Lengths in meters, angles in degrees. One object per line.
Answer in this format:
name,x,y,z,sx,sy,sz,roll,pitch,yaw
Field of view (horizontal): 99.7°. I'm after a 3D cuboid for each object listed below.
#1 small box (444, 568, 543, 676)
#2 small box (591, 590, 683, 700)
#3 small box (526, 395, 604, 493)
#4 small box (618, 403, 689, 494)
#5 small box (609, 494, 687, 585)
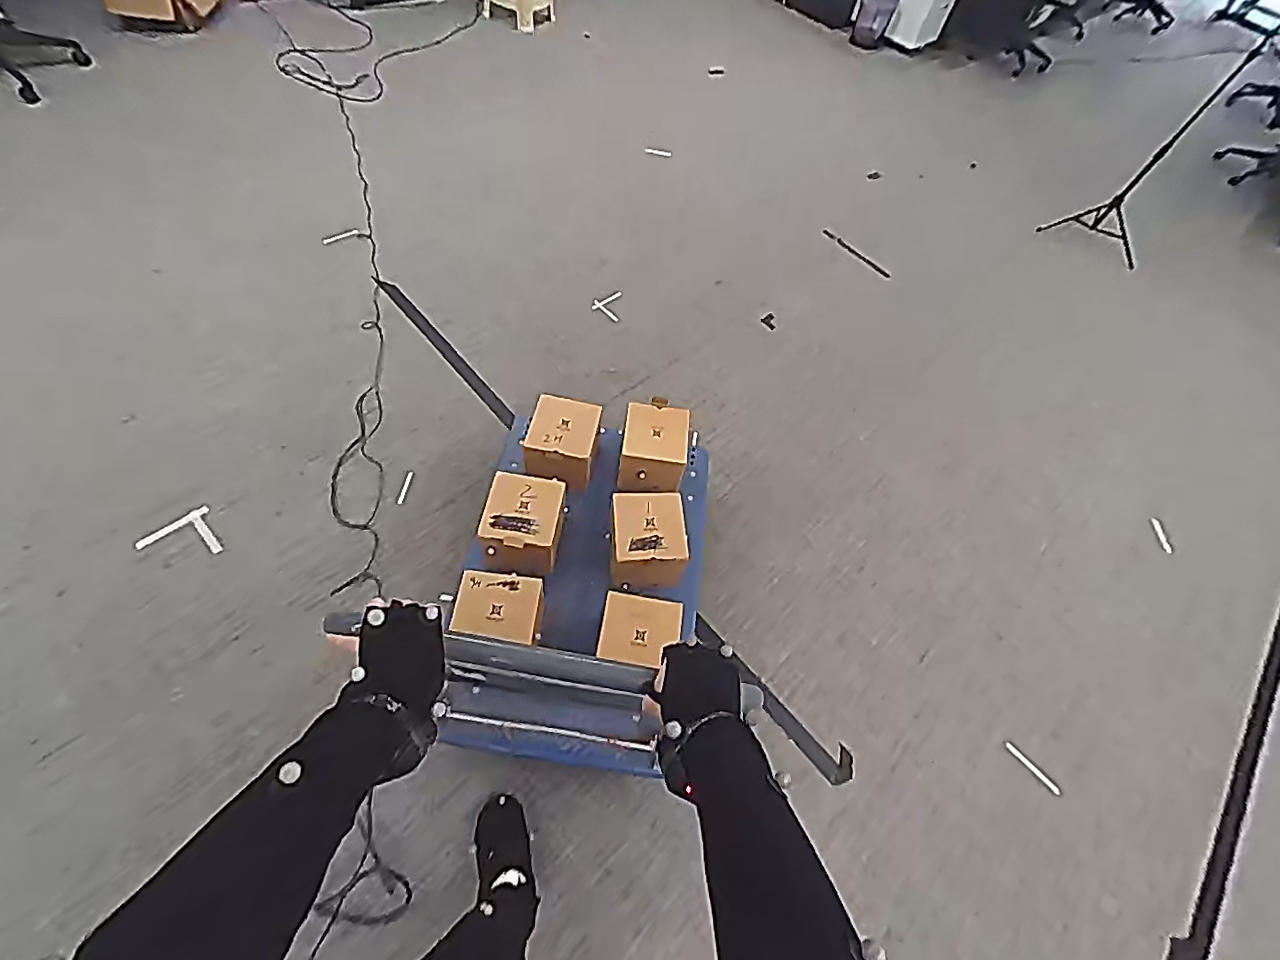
small box,-0.304,0.312,1.164,0.168,0.176,0.179,9,57,-5
small box,-0.011,0.365,1.178,0.168,0.176,0.179,12,56,-2
small box,-0.199,-0.093,1.436,0.168,0.176,0.179,12,58,-1
small box,0.034,-0.079,1.466,0.168,0.176,0.179,8,57,-3
small box,0.012,0.149,1.317,0.168,0.176,0.179,1,57,-8
